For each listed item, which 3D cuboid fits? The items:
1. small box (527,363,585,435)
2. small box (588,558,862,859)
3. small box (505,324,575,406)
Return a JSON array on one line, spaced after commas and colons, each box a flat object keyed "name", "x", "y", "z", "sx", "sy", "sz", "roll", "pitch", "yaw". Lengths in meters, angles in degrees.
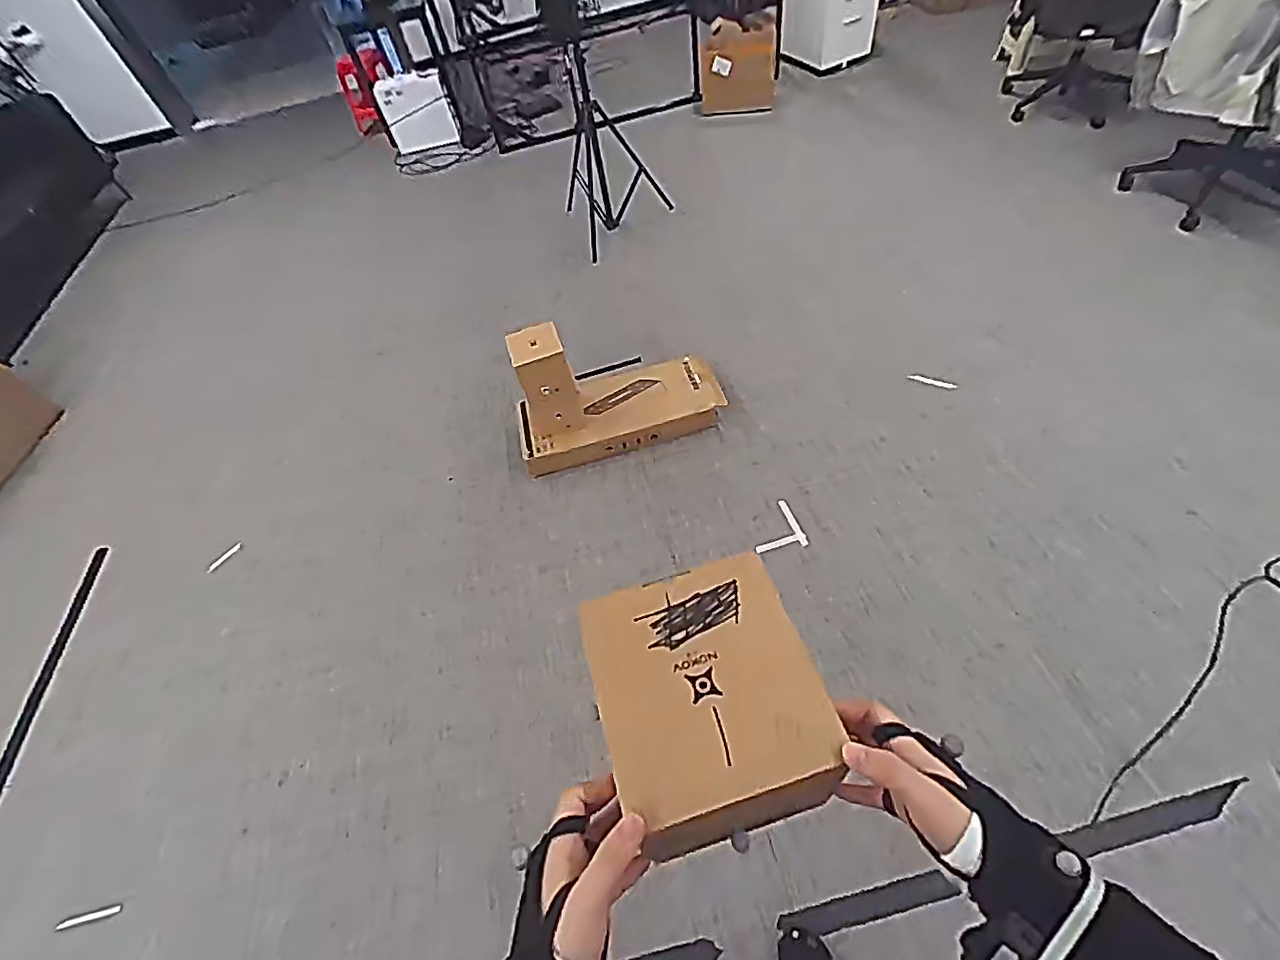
[{"name": "small box", "x": -0.298, "y": -0.277, "z": 1.900, "sx": 0.168, "sy": 0.176, "sz": 0.179, "roll": -14, "pitch": 53, "yaw": -2}, {"name": "small box", "x": 0.062, "y": 0.202, "z": 0.477, "sx": 0.168, "sy": 0.176, "sz": 0.179, "roll": -17, "pitch": 50, "yaw": -4}, {"name": "small box", "x": -0.324, "y": -0.374, "z": 1.771, "sx": 0.168, "sy": 0.176, "sz": 0.179, "roll": -20, "pitch": 53, "yaw": -5}]
